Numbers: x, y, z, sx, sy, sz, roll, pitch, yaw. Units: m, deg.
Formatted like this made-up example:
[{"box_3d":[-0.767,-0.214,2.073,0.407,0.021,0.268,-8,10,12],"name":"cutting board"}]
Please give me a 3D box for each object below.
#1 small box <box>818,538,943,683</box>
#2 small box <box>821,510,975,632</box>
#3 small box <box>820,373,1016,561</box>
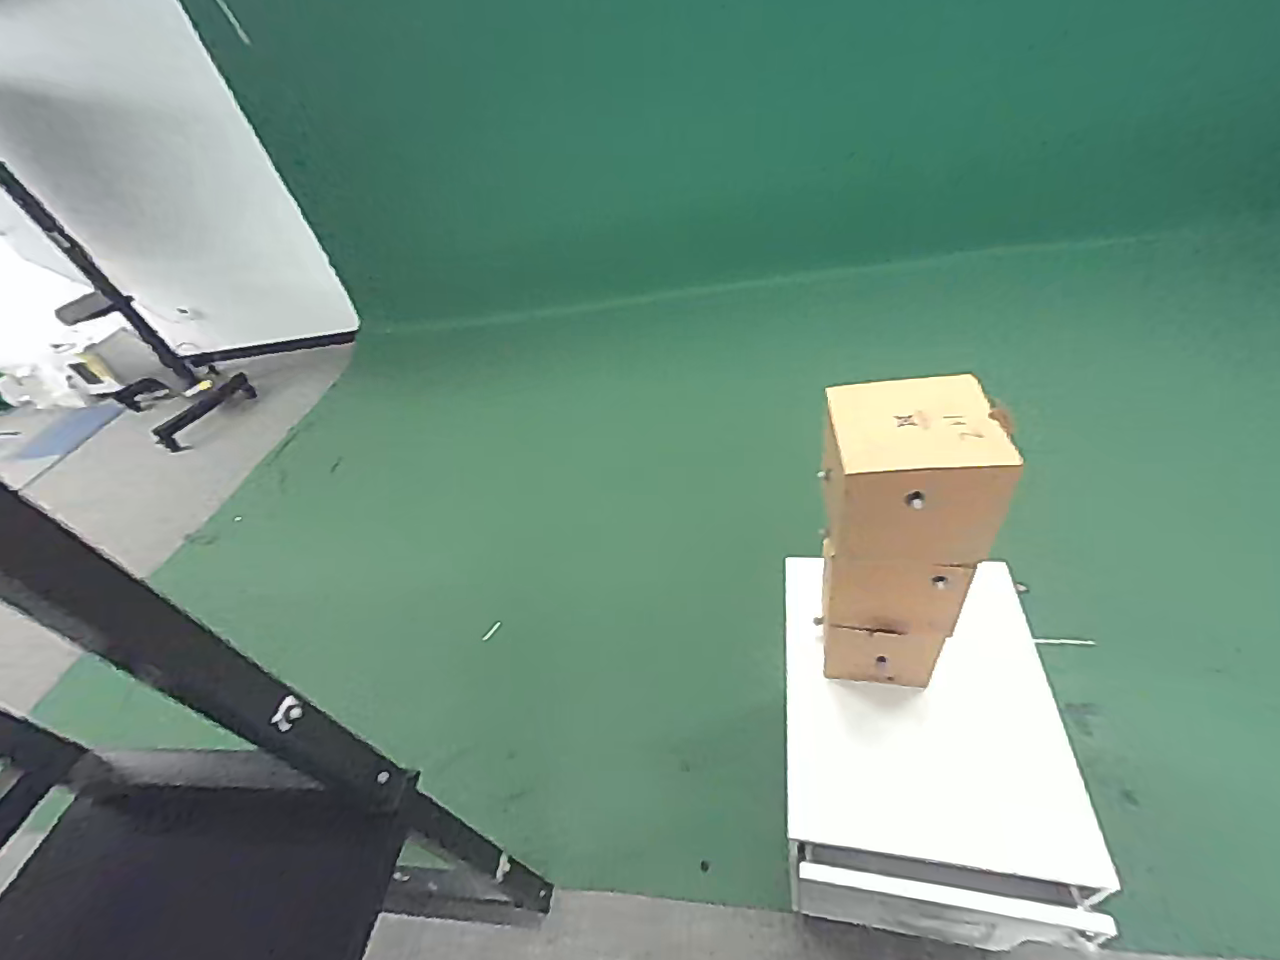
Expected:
[{"box_3d":[0.386,0.217,0.899,0.168,0.176,0.179,0,45,15],"name":"small box"},{"box_3d":[0.359,0.103,0.786,0.179,0.176,0.168,2,45,17],"name":"small box"},{"box_3d":[0.322,-0.011,0.673,0.179,0.176,0.168,-3,44,12],"name":"small box"}]
